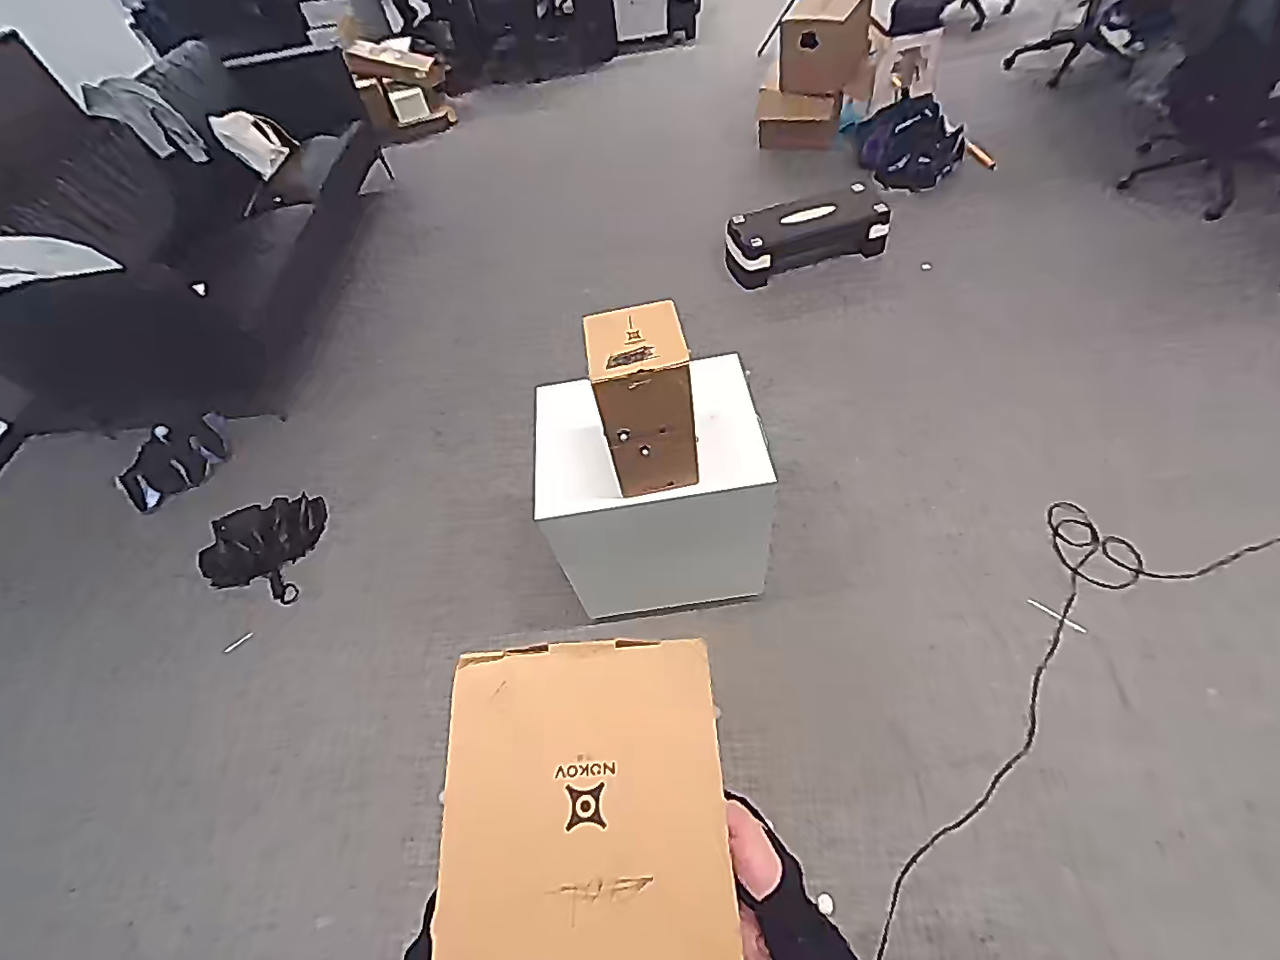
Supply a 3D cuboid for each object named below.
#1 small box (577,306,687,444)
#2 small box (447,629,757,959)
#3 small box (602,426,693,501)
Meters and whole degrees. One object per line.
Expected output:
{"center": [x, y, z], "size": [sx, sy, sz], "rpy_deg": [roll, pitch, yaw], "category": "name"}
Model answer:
{"center": [-0.012, -0.183, 0.985], "size": [0.168, 0.176, 0.179], "rpy_deg": [-11, 51, 1], "category": "small box"}
{"center": [-0.027, 0.216, 0.390], "size": [0.168, 0.176, 0.179], "rpy_deg": [-3, 64, -3], "category": "small box"}
{"center": [0.010, -0.084, 1.116], "size": [0.168, 0.176, 0.179], "rpy_deg": [-13, 51, 1], "category": "small box"}
